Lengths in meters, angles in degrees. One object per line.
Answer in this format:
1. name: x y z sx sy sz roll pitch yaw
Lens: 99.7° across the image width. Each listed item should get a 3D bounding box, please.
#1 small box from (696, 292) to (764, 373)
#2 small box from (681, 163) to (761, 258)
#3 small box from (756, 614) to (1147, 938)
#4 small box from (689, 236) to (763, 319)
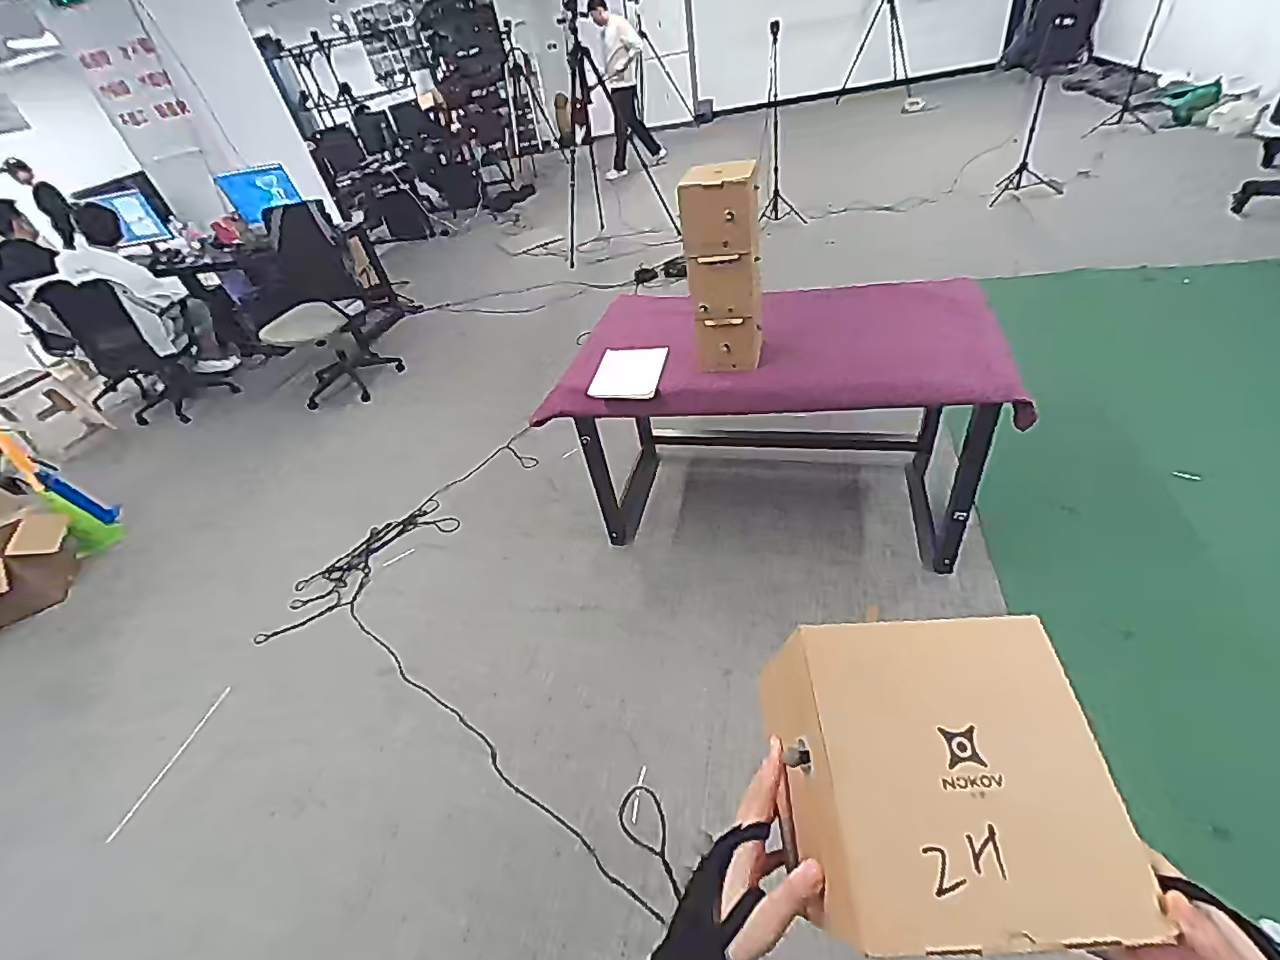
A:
1. small box: 0.265 -0.420 1.551 0.168 0.176 0.179 3 43 17
2. small box: 0.207 -0.658 1.333 0.168 0.176 0.179 4 42 18
3. small box: 0.188 0.211 0.399 0.168 0.176 0.179 -2 58 0
4. small box: 0.235 -0.539 1.441 0.168 0.176 0.179 3 41 18
